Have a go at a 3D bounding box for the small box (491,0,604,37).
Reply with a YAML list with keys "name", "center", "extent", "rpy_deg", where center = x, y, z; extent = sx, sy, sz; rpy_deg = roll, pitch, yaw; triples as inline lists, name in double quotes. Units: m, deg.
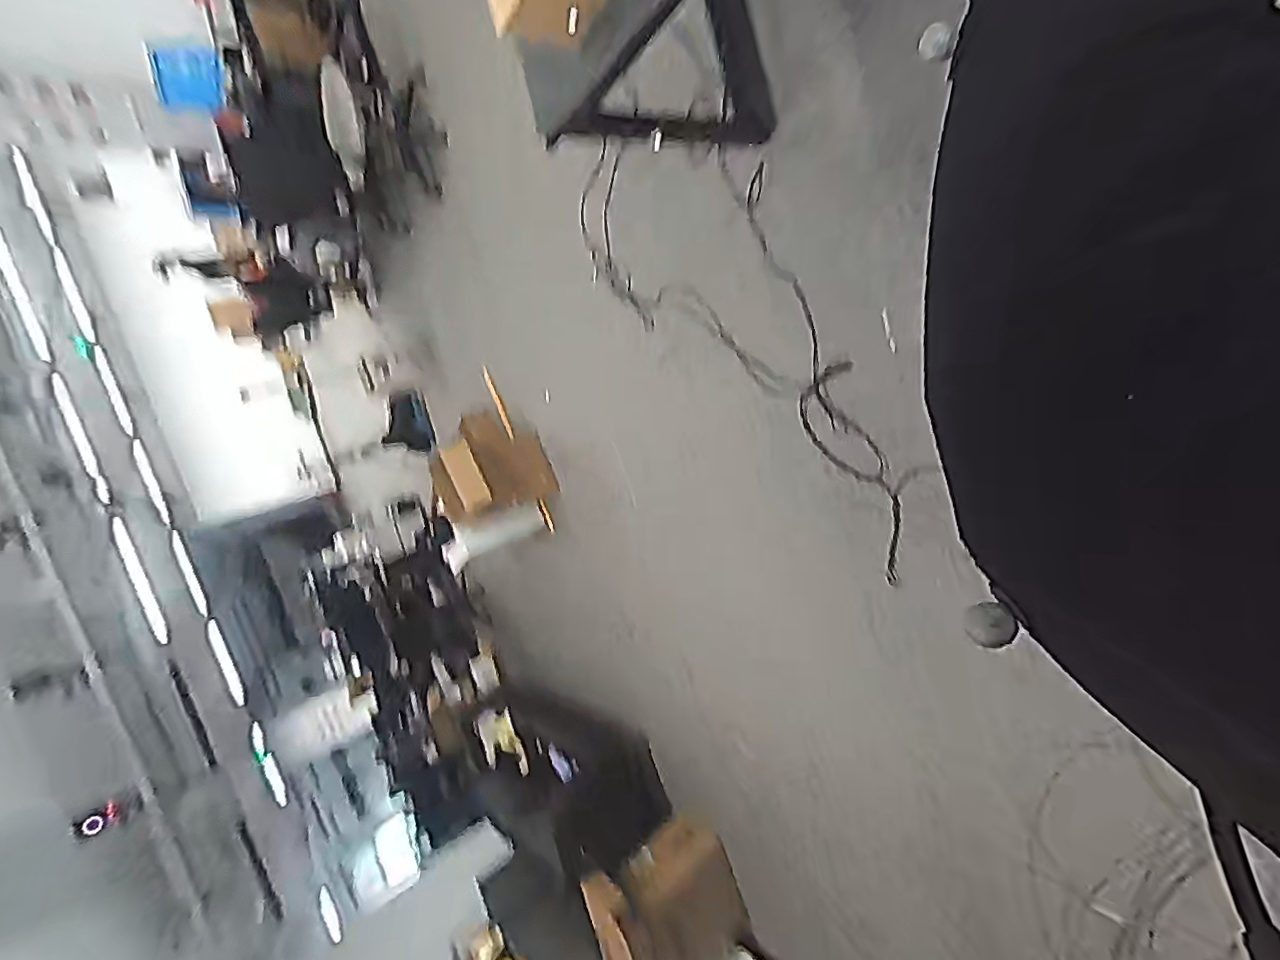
- name: "small box"
  center: [-0.165, -0.926, 0.943]
  extent: [0.168, 0.176, 0.179]
  rpy_deg: [-5, 103, 55]
